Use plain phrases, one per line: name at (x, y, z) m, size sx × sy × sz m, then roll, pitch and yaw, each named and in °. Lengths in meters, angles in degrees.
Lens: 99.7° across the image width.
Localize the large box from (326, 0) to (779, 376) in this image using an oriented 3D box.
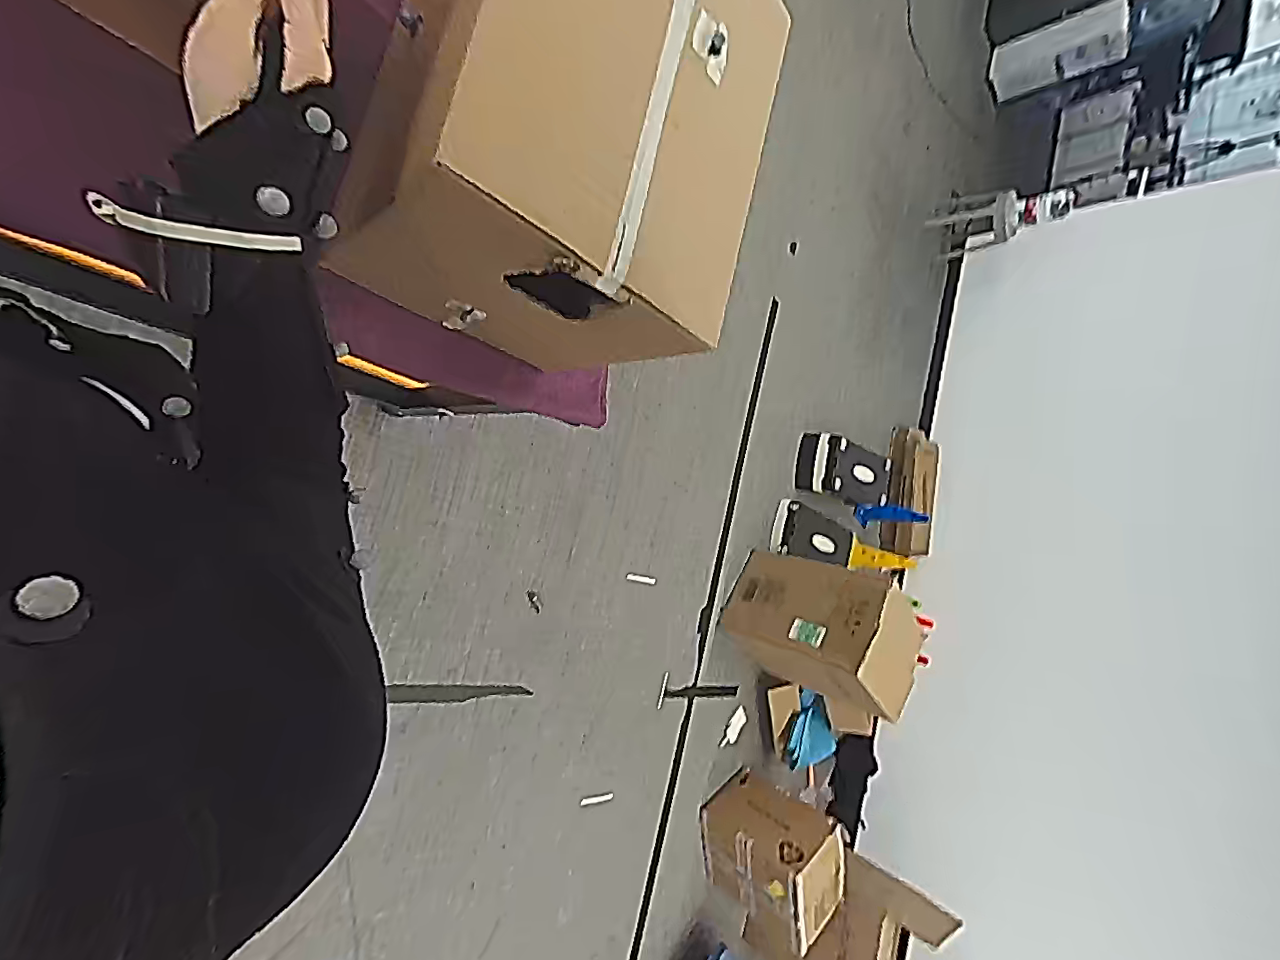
large box at (-0.091, -0.364, 0.592) m, size 0.320 × 0.320 × 0.408 m, roll 20°, pitch 80°, yaw -44°

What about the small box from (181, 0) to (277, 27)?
small box at (-0.258, -0.384, 0.276) m, size 0.179 × 0.176 × 0.168 m, roll 20°, pitch 94°, yaw -44°
